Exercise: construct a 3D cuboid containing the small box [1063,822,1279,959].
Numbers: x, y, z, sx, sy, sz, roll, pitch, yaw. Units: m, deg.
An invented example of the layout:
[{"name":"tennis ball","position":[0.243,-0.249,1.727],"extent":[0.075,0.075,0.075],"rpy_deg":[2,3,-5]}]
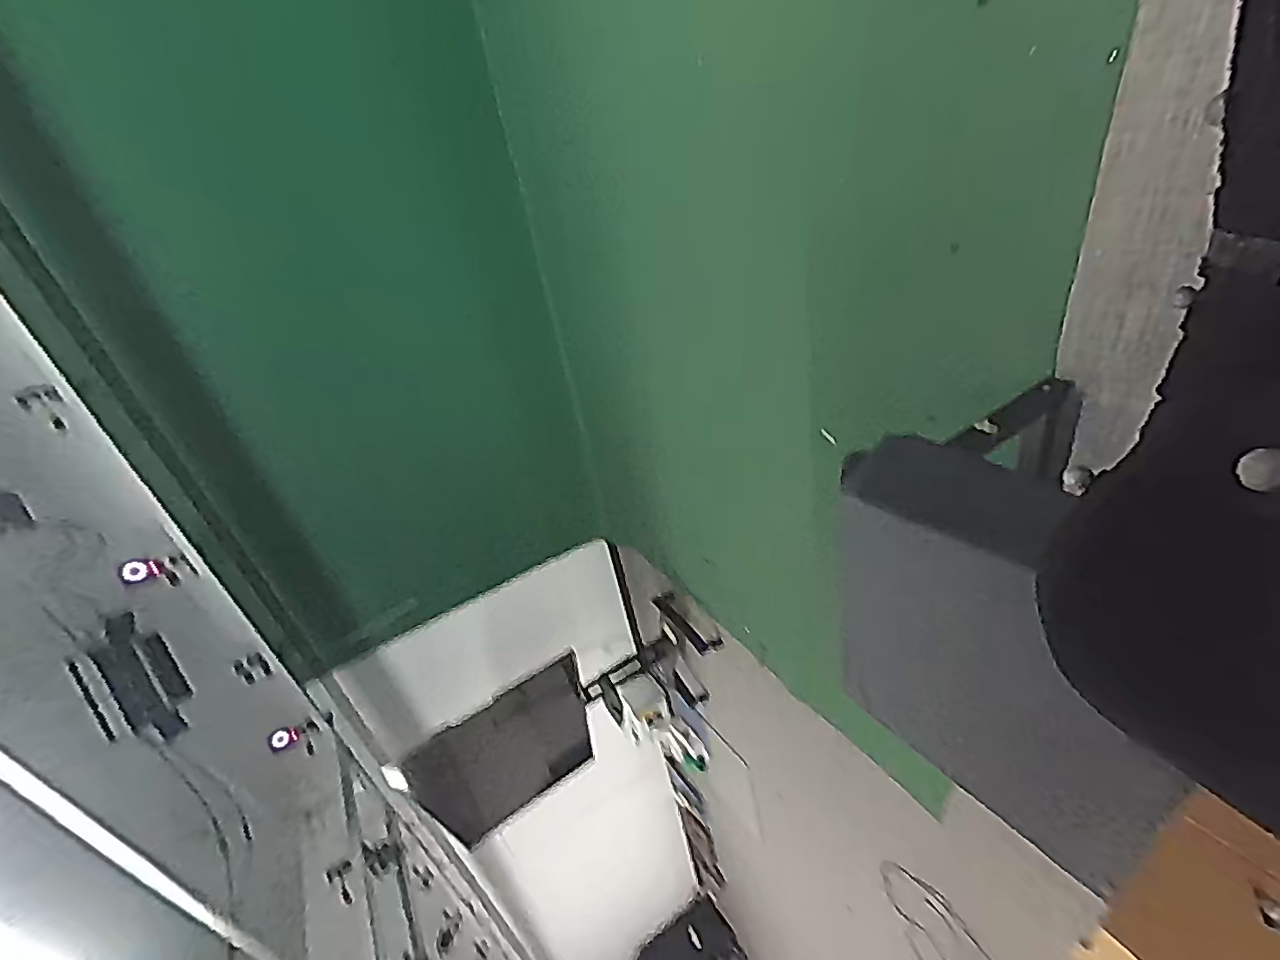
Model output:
[{"name":"small box","position":[0.584,0.490,0.546],"extent":[0.179,0.176,0.168],"rpy_deg":[34,144,51]}]
